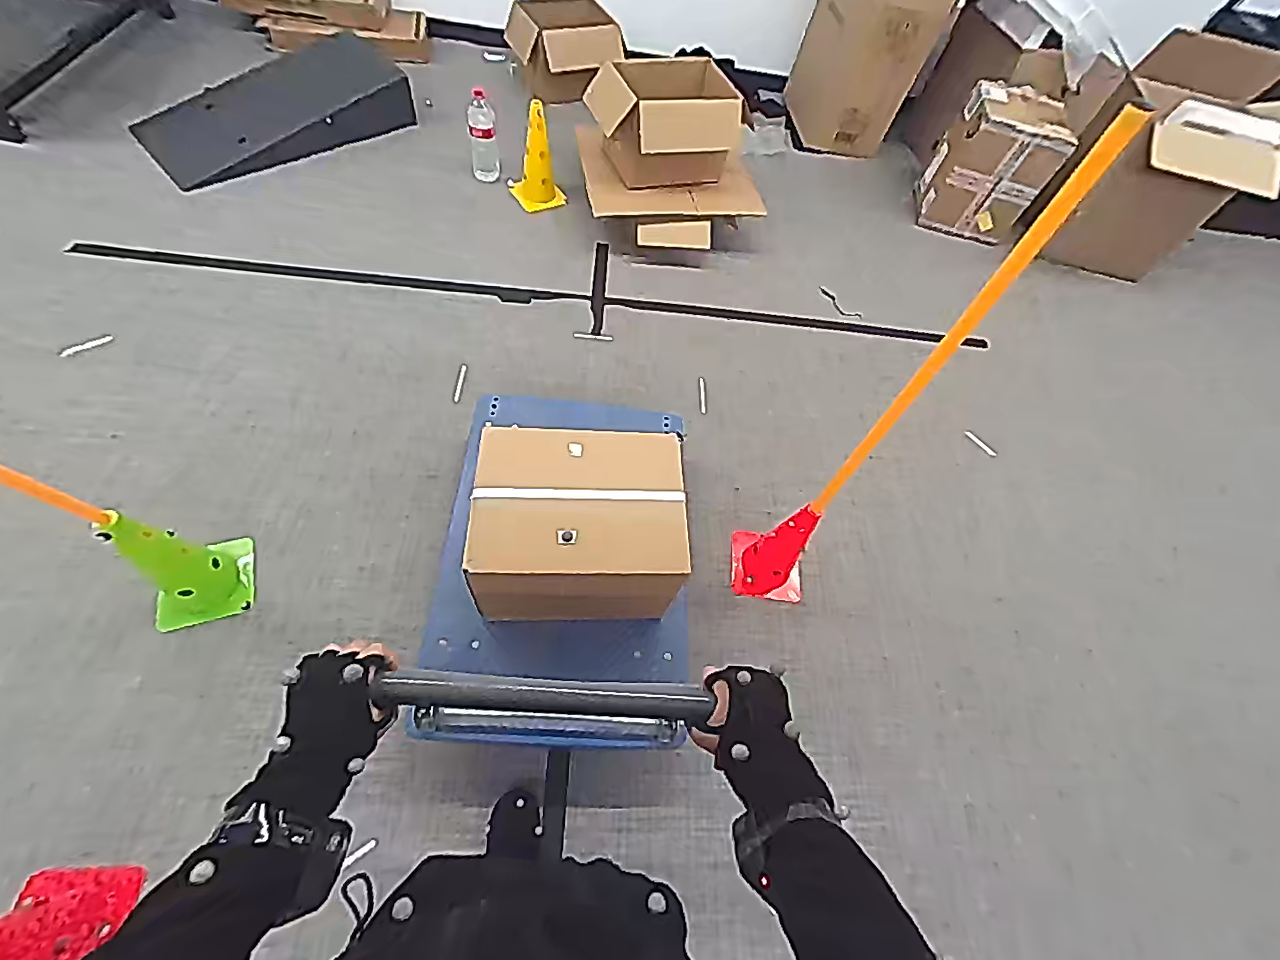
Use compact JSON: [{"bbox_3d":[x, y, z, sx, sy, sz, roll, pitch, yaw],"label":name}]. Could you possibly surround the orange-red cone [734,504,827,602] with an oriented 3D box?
[{"bbox_3d":[0.395,0.158,1.405,0.199,0.360,0.198,10,59,-4],"label":"orange-red cone"}]
